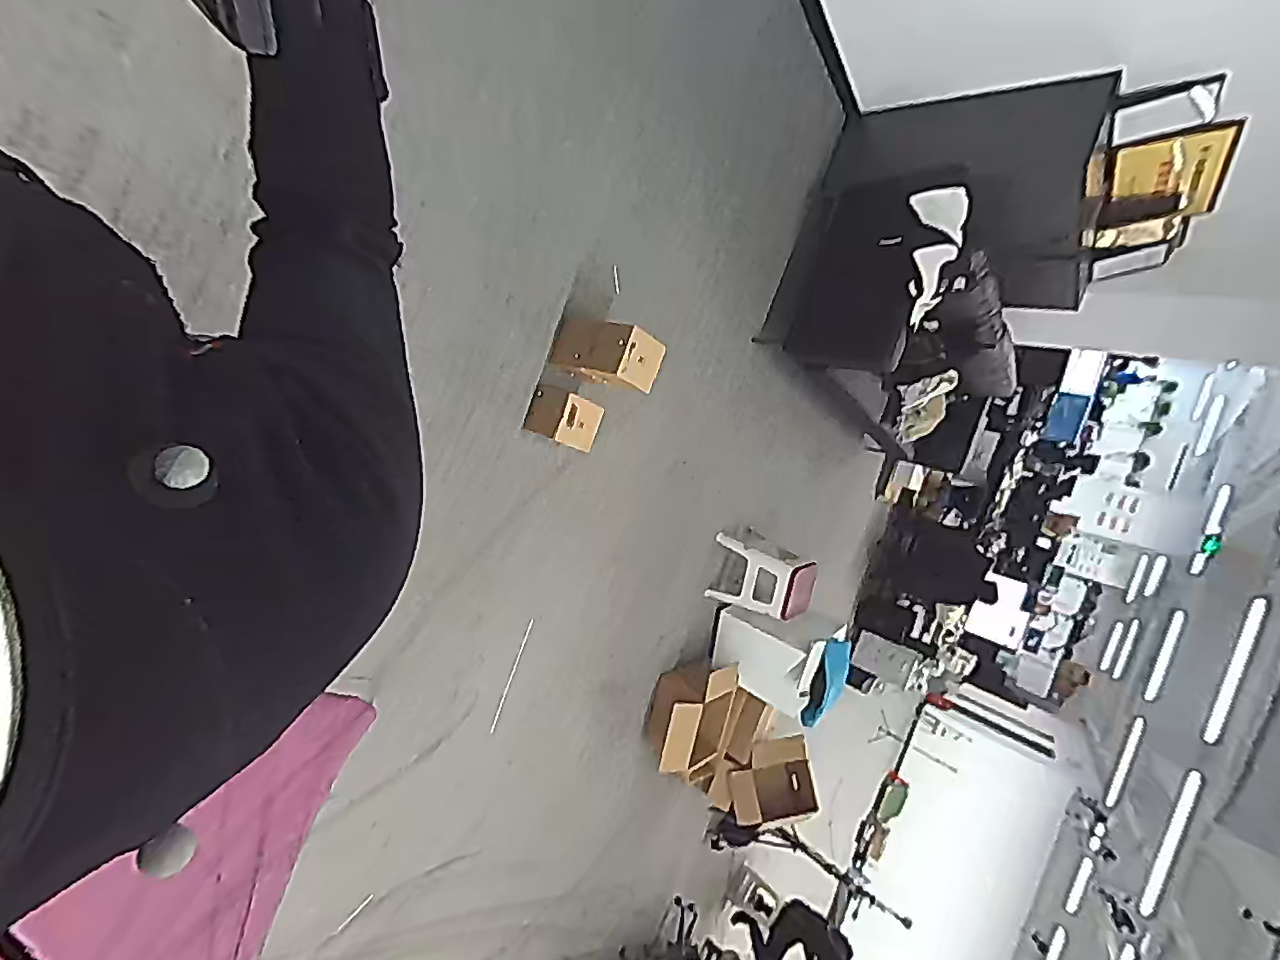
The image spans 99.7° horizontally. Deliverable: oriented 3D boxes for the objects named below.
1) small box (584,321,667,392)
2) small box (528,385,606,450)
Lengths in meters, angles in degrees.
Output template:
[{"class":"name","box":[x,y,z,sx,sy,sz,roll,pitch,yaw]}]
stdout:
[{"class":"small box","box":[-0.048,-0.404,1.753,0.179,0.176,0.168,21,90,-52]},{"class":"small box","box":[-0.253,-0.217,1.853,0.179,0.176,0.168,20,91,-51]}]
